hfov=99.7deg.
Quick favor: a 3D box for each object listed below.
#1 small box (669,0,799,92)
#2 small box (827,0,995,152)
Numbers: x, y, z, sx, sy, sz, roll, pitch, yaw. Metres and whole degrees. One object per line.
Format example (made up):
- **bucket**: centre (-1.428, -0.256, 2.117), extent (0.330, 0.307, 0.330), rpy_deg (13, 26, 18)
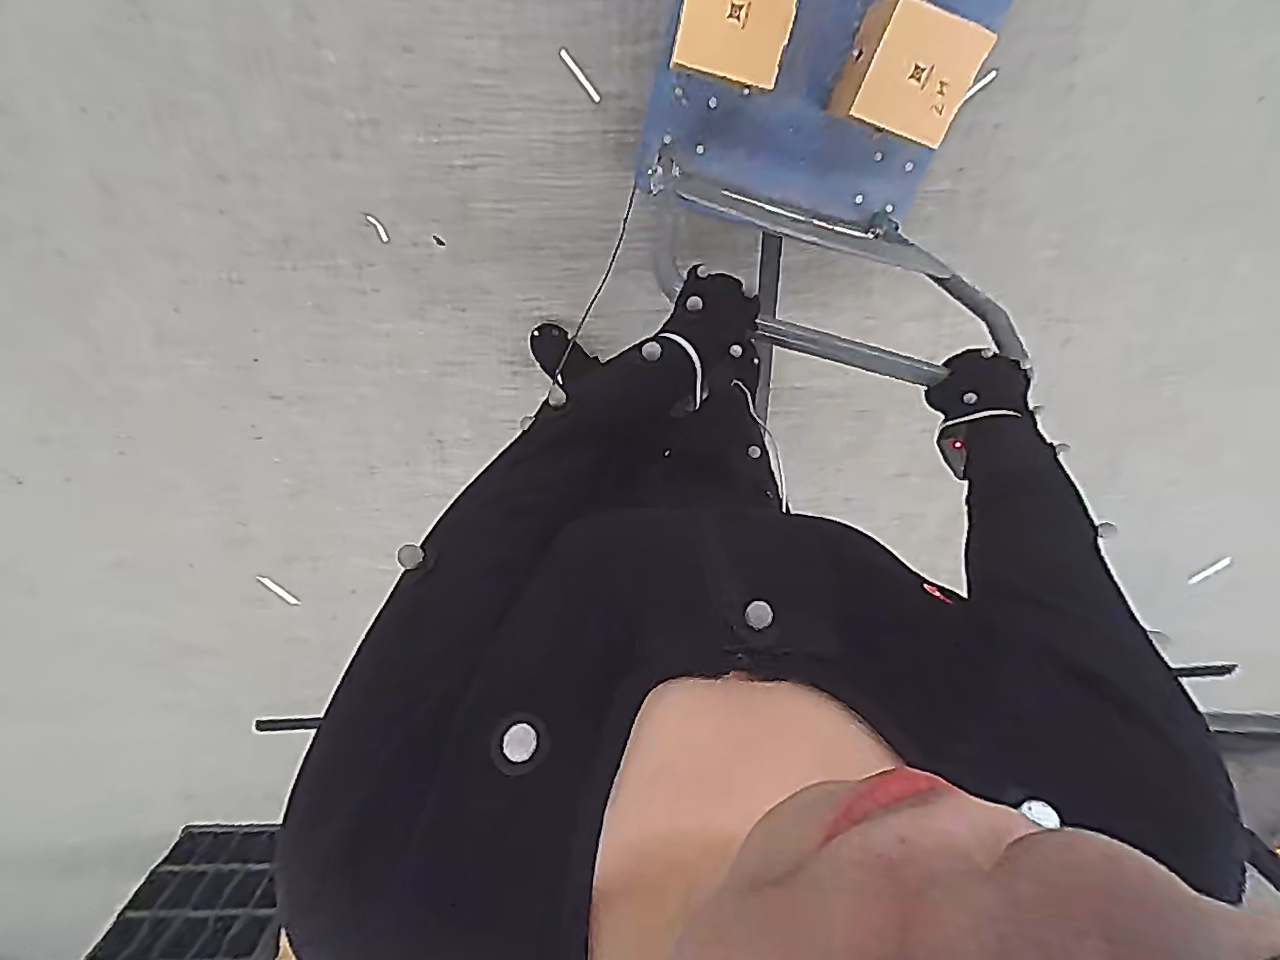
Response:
- **small box**: centre (0.153, -0.772, 0.910), extent (0.179, 0.176, 0.168), rpy_deg (10, 124, -8)
- **small box**: centre (0.459, -0.701, 0.952), extent (0.179, 0.176, 0.168), rpy_deg (16, 124, -9)
